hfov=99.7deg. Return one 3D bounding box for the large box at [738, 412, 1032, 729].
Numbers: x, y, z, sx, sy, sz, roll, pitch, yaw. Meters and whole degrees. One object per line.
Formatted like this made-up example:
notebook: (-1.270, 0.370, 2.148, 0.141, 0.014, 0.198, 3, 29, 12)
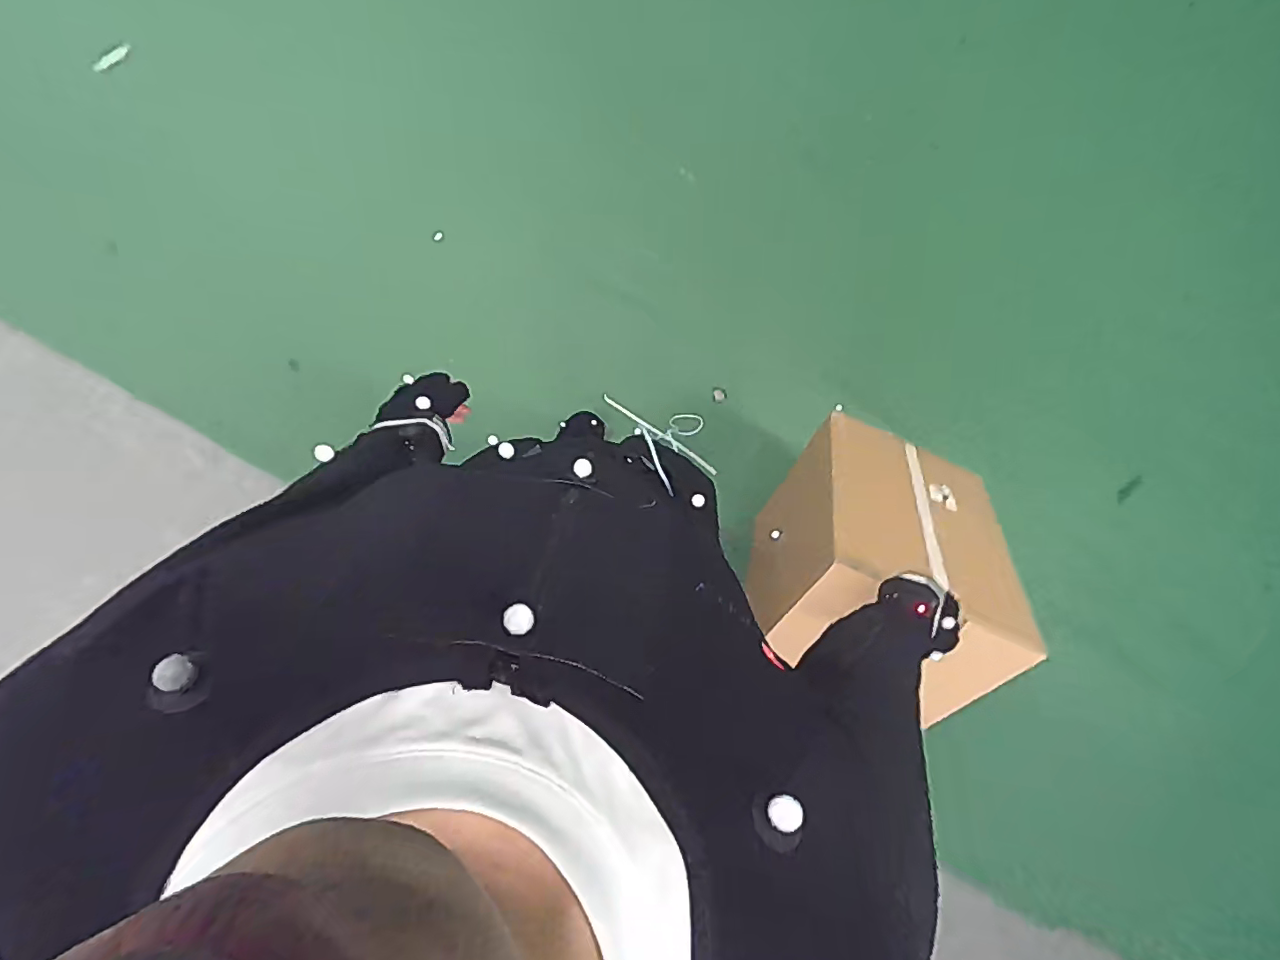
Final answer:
large box: (0.394, 0.152, 0.976, 0.320, 0.408, 0.320, 25, 129, -2)
